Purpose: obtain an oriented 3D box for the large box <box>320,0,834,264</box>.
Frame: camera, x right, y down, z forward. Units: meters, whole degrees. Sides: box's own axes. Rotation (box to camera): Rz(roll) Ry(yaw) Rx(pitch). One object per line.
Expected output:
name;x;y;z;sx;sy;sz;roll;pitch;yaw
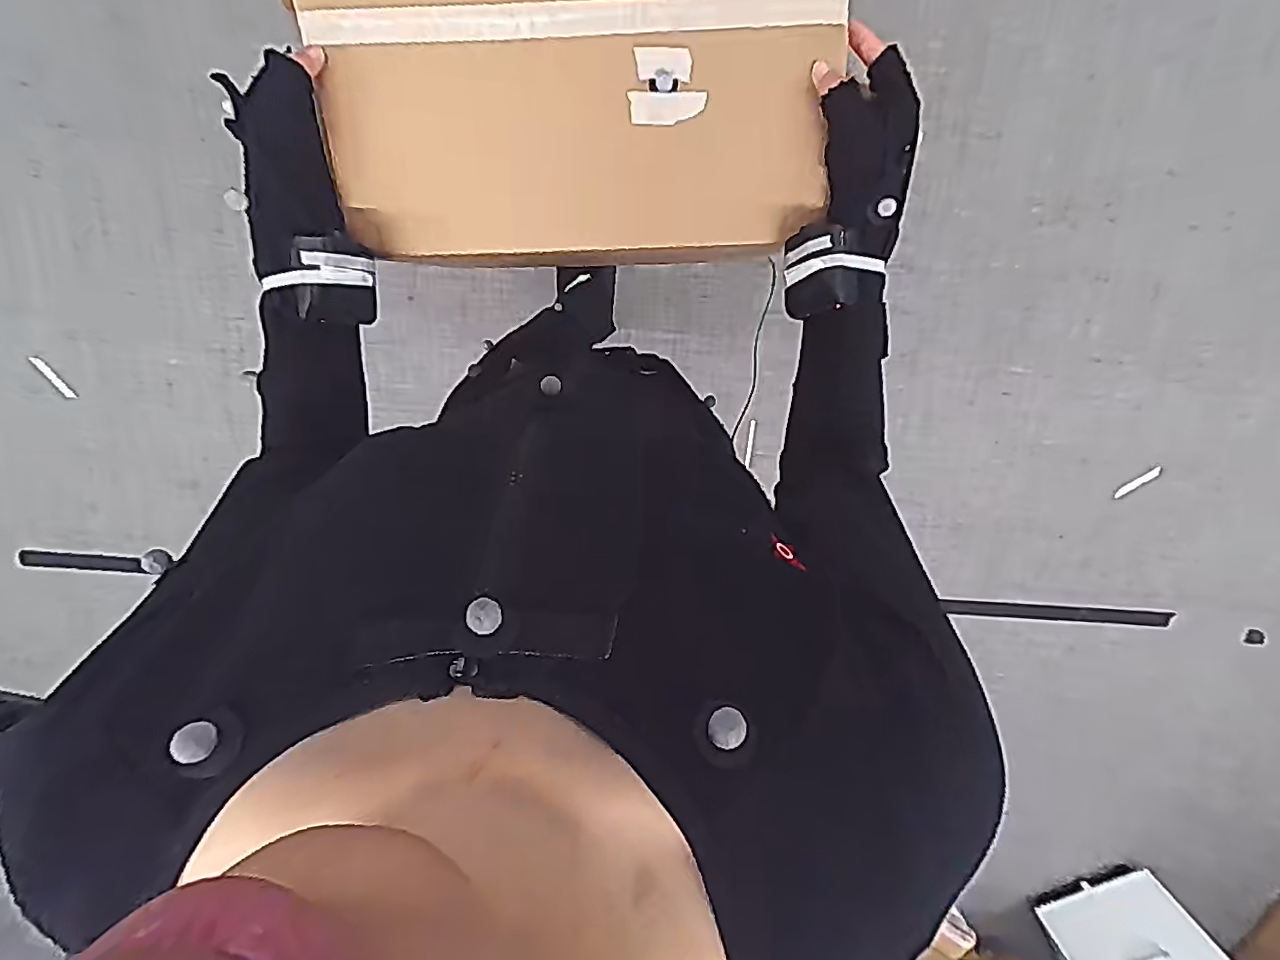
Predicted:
large box;-0.051;-0.406;0.559;0.408;0.320;0.320;-2;110;0
